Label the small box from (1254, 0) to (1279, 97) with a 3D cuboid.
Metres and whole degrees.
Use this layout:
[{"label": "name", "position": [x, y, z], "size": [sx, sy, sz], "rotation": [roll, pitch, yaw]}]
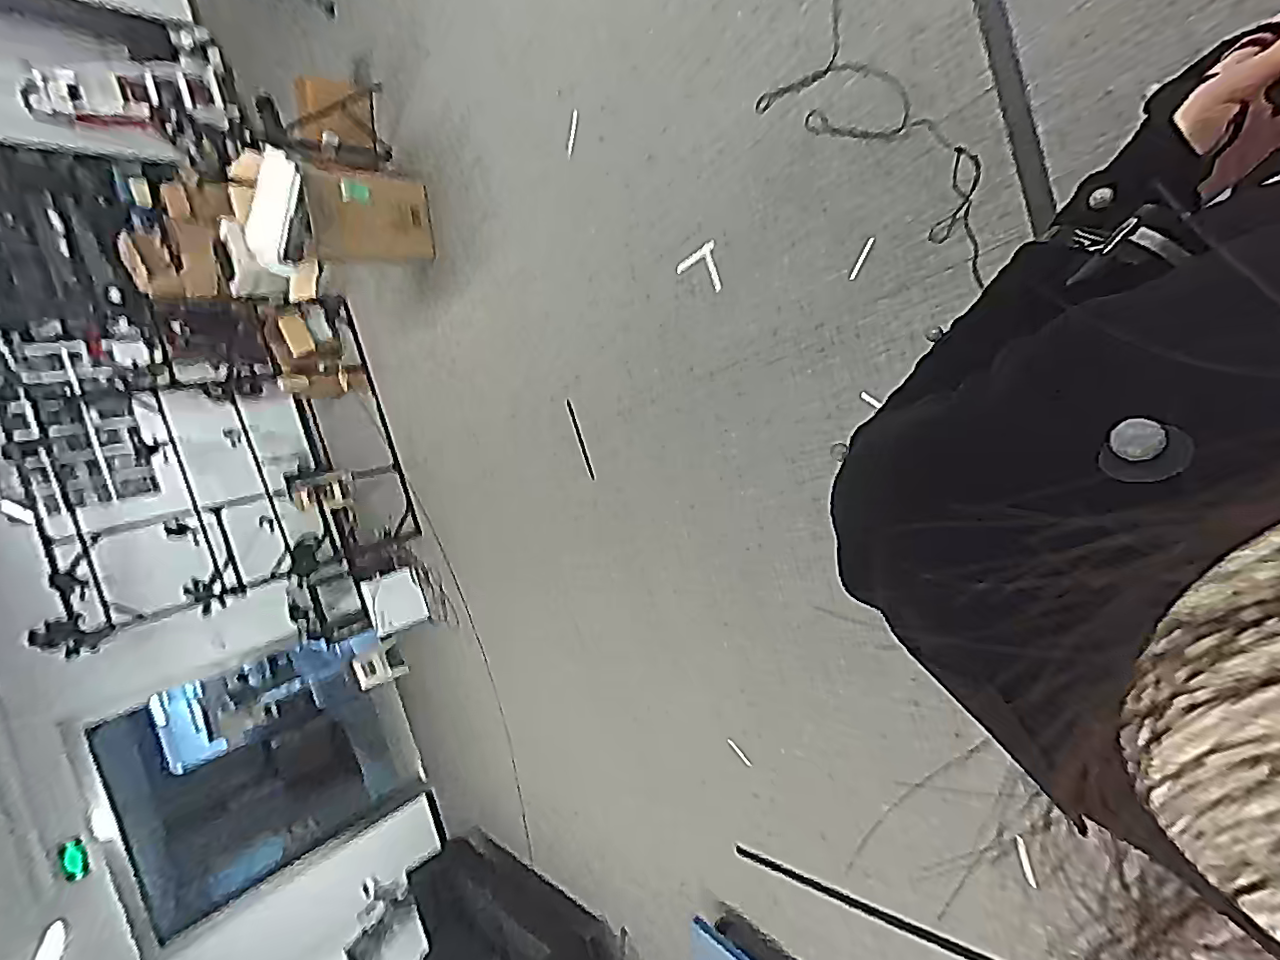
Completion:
[{"label": "small box", "position": [0.397, -0.275, 0.214], "size": [0.179, 0.176, 0.168], "rotation": [9, 120, 39]}]
